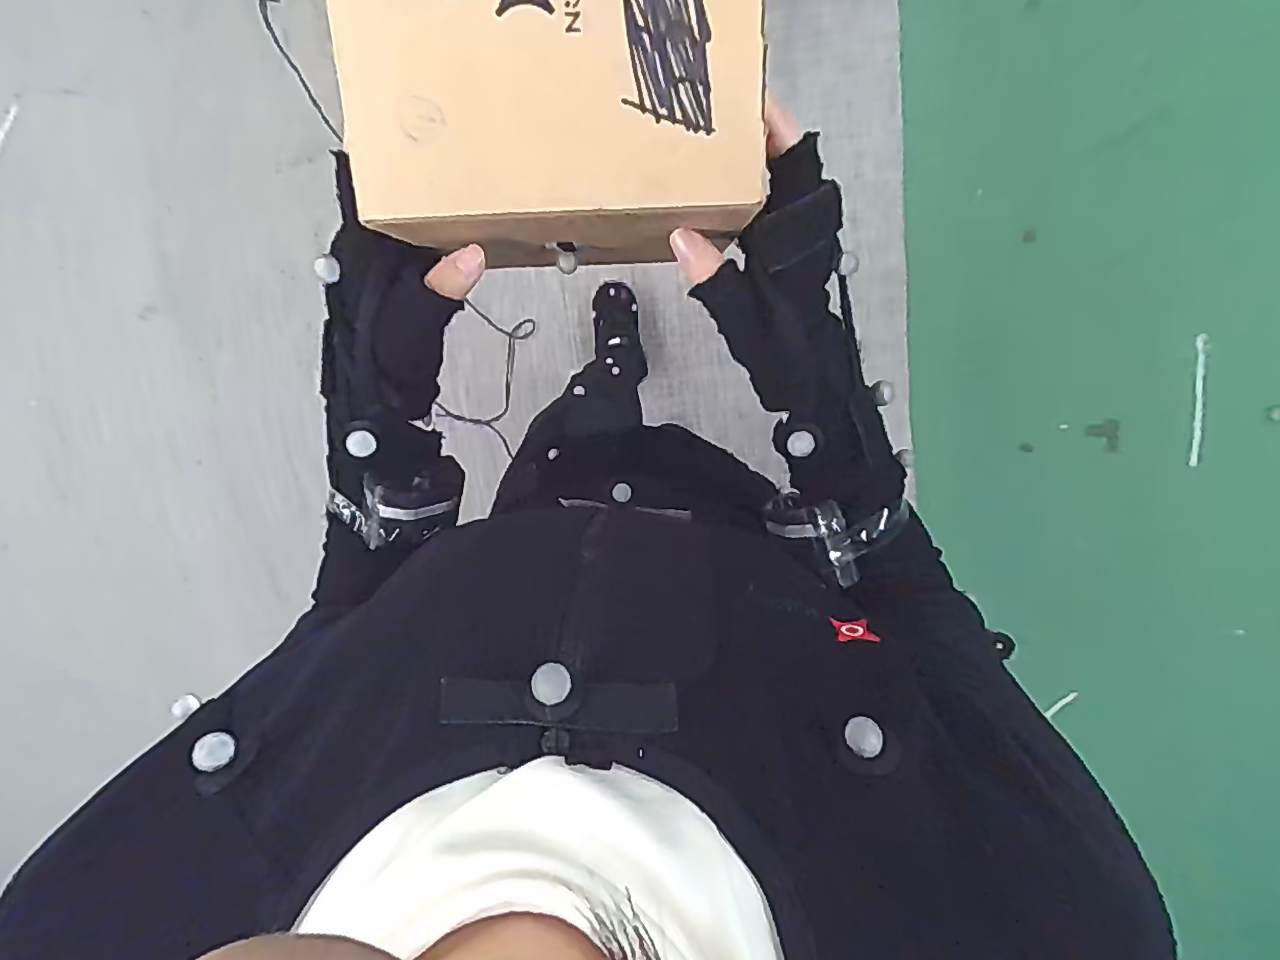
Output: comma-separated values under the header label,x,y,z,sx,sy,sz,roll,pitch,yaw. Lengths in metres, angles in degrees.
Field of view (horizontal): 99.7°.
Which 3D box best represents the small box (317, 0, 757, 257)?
label,x,y,z,sx,sy,sz,roll,pitch,yaw
small box,-0.040,-0.219,0.286,0.179,0.176,0.168,0,105,2
